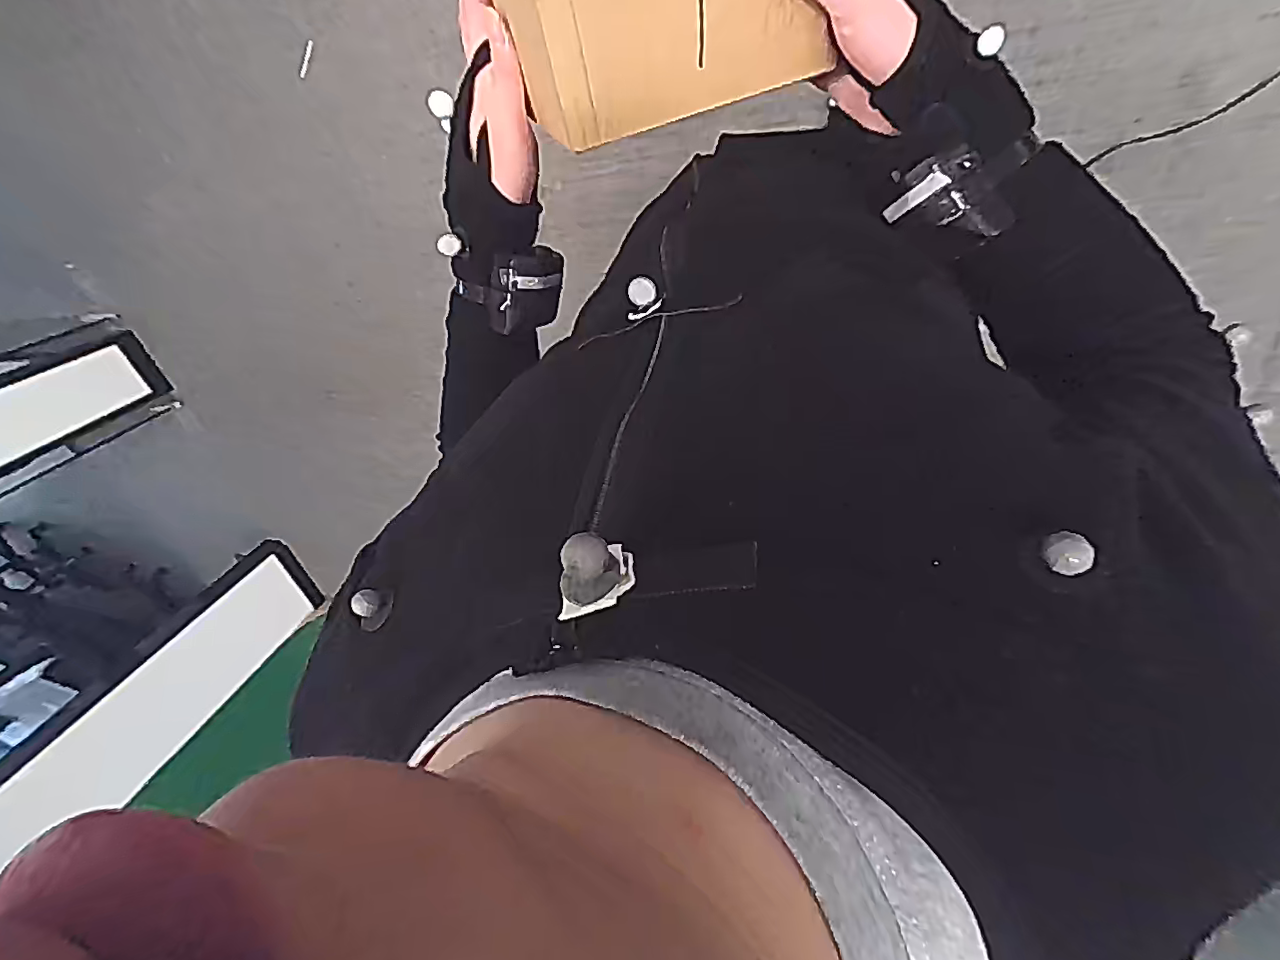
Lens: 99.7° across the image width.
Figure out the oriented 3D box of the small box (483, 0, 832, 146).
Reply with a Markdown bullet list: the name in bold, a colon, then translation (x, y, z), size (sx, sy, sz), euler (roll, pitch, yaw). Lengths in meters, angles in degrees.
- **small box**: translation (-0.008, -0.320, 0.300), size (0.168, 0.176, 0.179), euler (-22, 137, -7)
